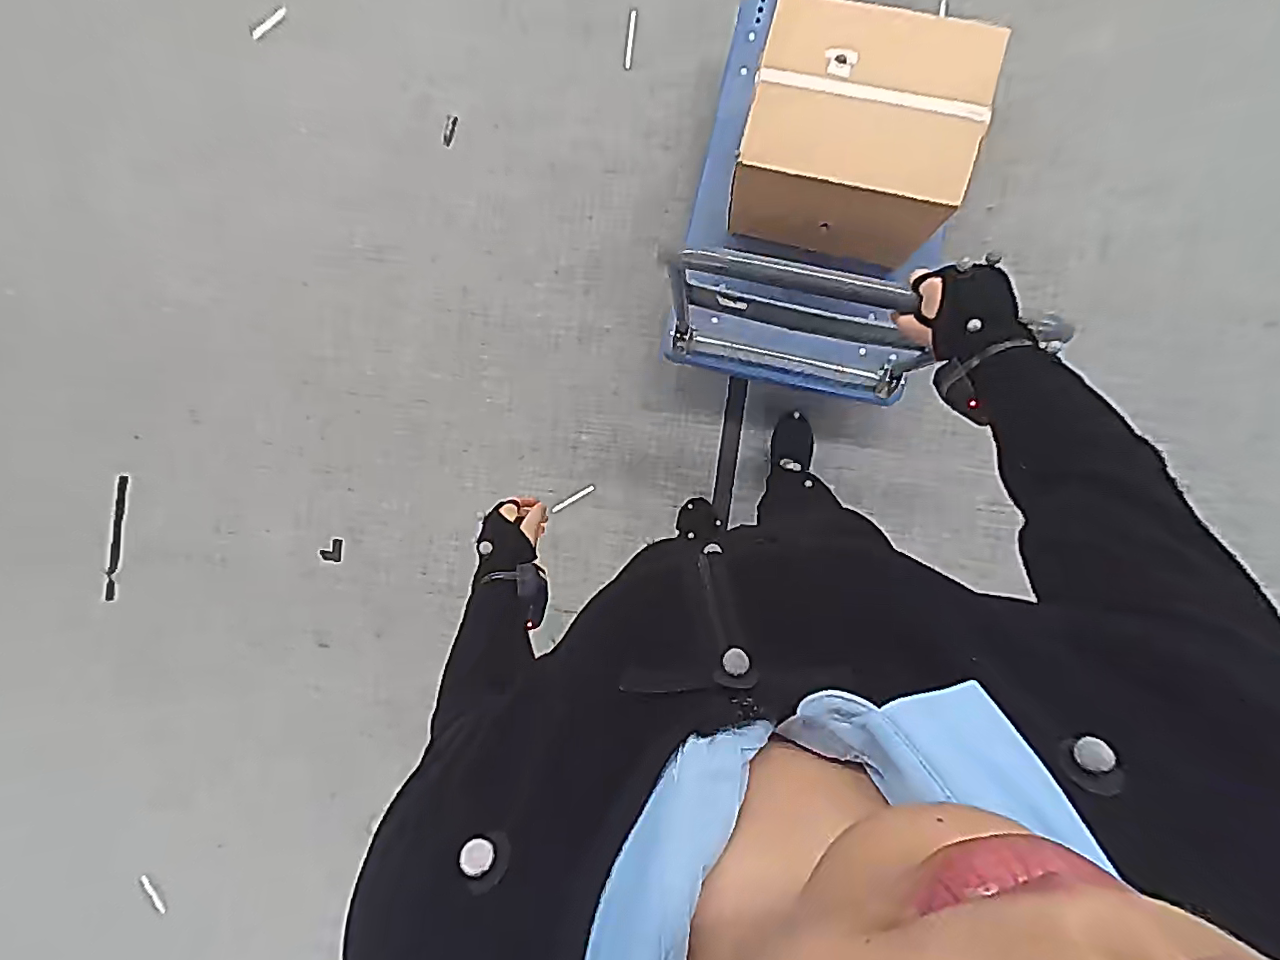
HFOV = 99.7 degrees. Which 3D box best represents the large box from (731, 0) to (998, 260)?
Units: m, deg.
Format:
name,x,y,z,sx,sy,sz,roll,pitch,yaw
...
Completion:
name,x,y,z,sx,sy,sz,roll,pitch,yaw
large box,0.424,-0.693,1.123,0.408,0.320,0.320,14,92,7
